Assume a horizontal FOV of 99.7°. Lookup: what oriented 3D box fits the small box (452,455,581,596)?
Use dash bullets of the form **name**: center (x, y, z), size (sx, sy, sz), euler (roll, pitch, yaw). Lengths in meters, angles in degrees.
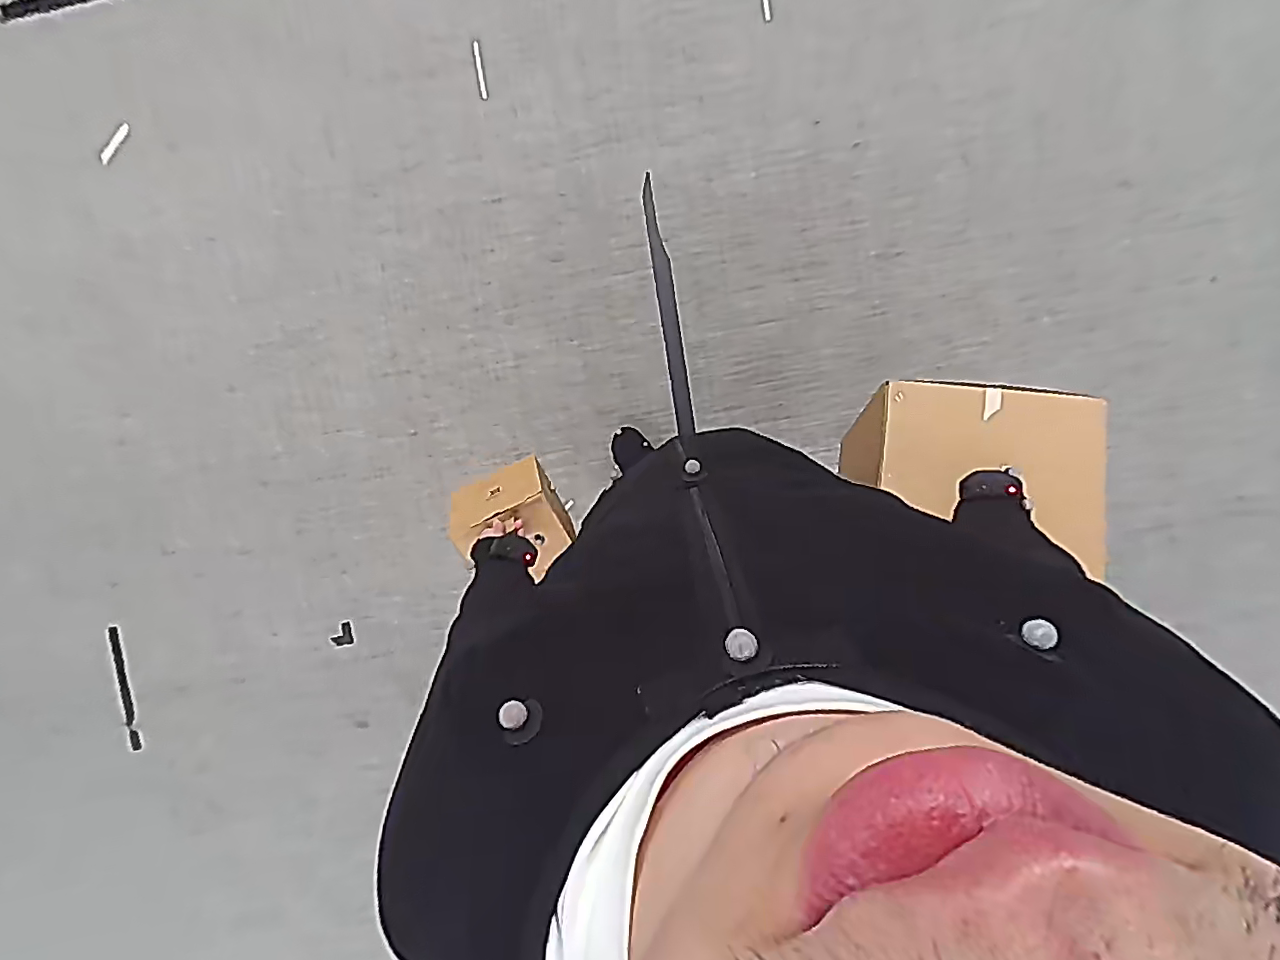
- **small box**: center (-0.221, 0.086, 0.987), size (0.168, 0.179, 0.176), euler (-26, 117, -3)
